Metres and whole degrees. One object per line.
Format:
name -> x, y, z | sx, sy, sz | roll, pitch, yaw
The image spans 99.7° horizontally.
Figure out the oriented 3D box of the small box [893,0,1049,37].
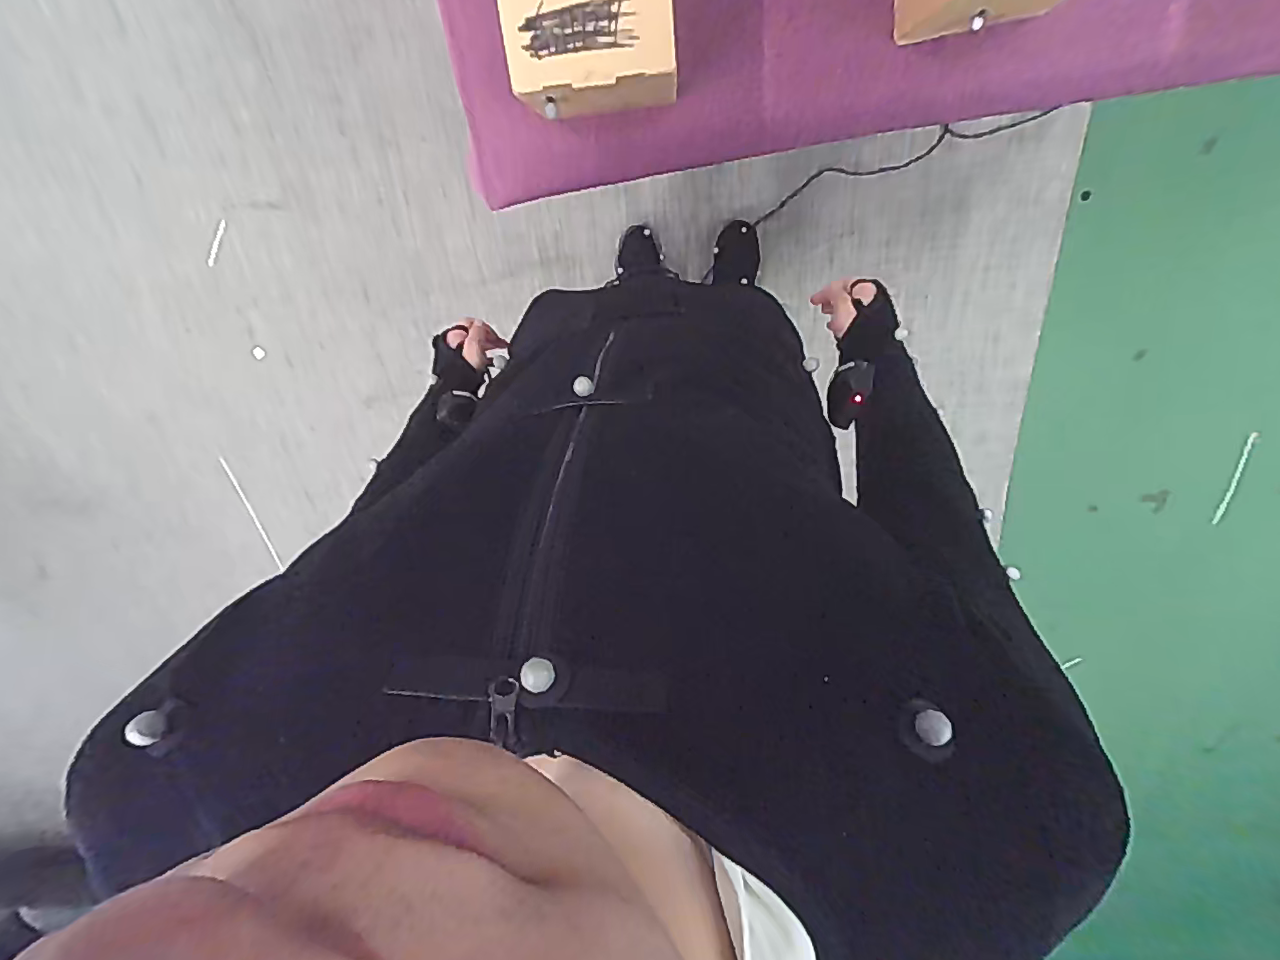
small box -> 0.357, -0.568, 0.517 | 0.168, 0.176, 0.179 | -8, 117, 7
